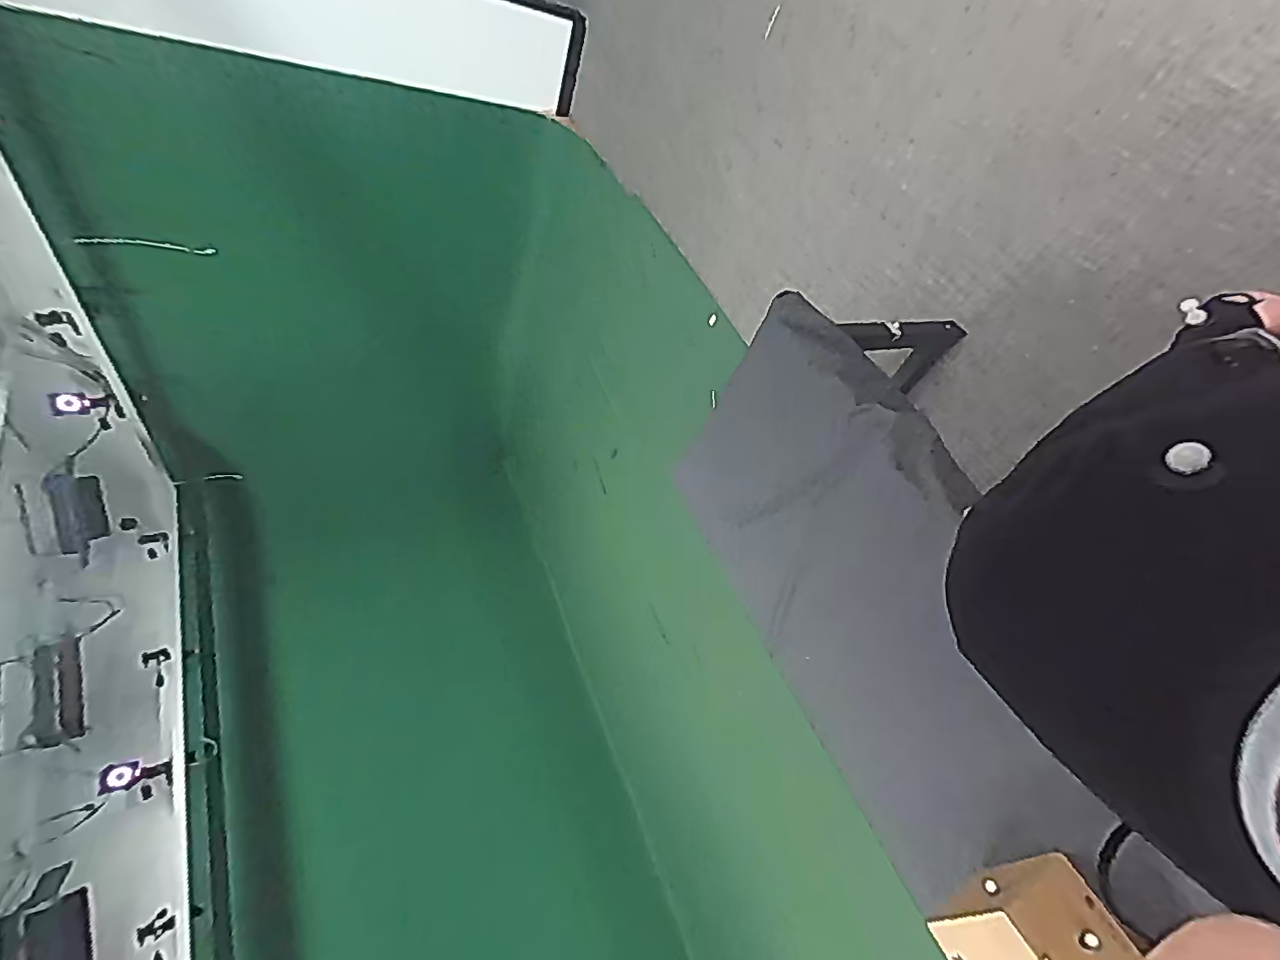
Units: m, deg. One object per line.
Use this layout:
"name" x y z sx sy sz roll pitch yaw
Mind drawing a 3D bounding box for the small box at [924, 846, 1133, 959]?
"small box" 0.586 0.689 0.814 0.168 0.176 0.179 59 144 32
